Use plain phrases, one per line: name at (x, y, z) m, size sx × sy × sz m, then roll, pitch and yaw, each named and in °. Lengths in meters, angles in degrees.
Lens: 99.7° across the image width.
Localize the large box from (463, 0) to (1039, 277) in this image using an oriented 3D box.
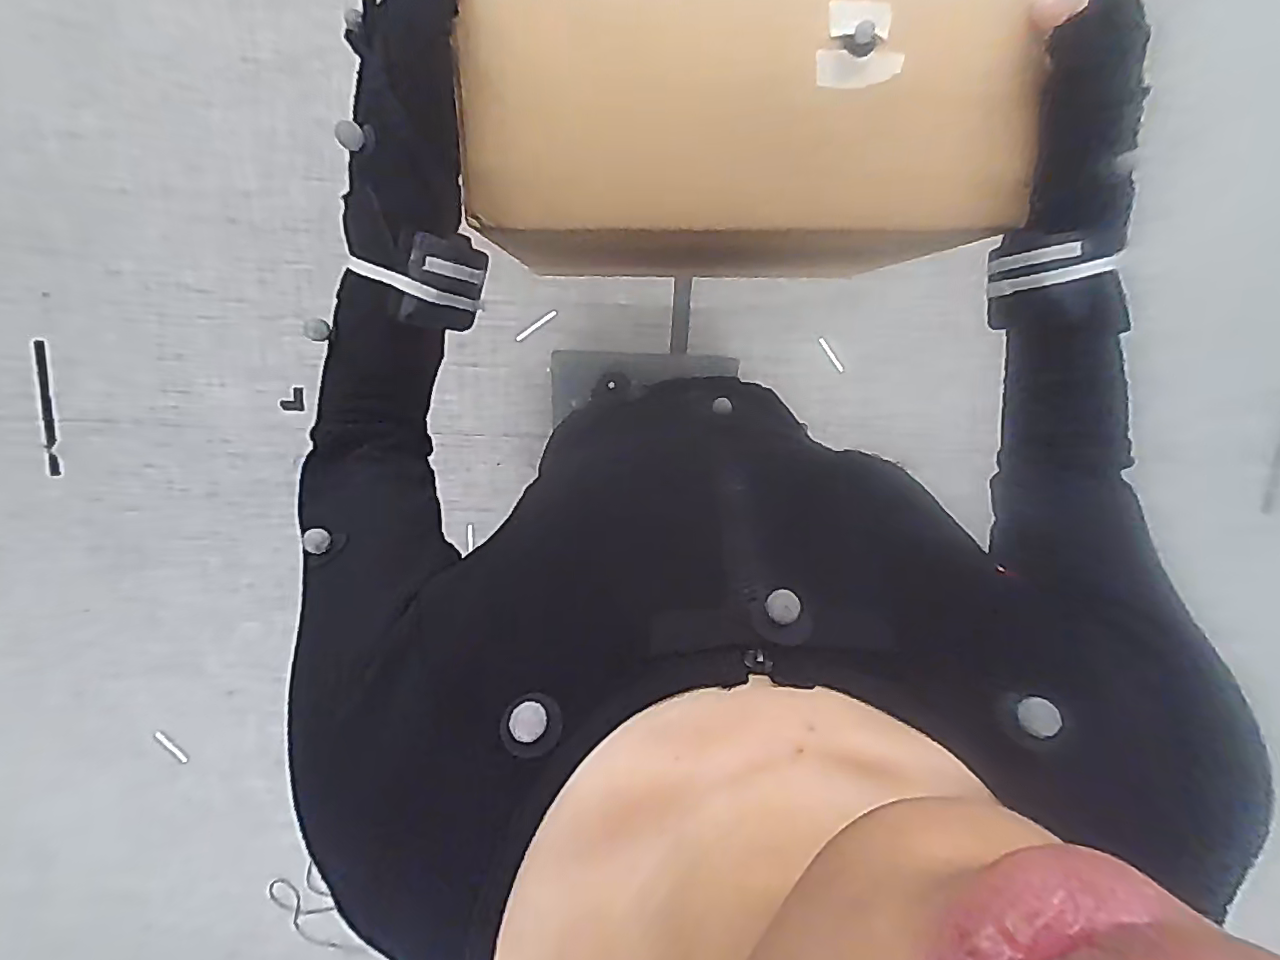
large box at (0.070, -0.377, 0.510) m, size 0.408 × 0.320 × 0.320 m, roll -1°, pitch 105°, yaw -2°
